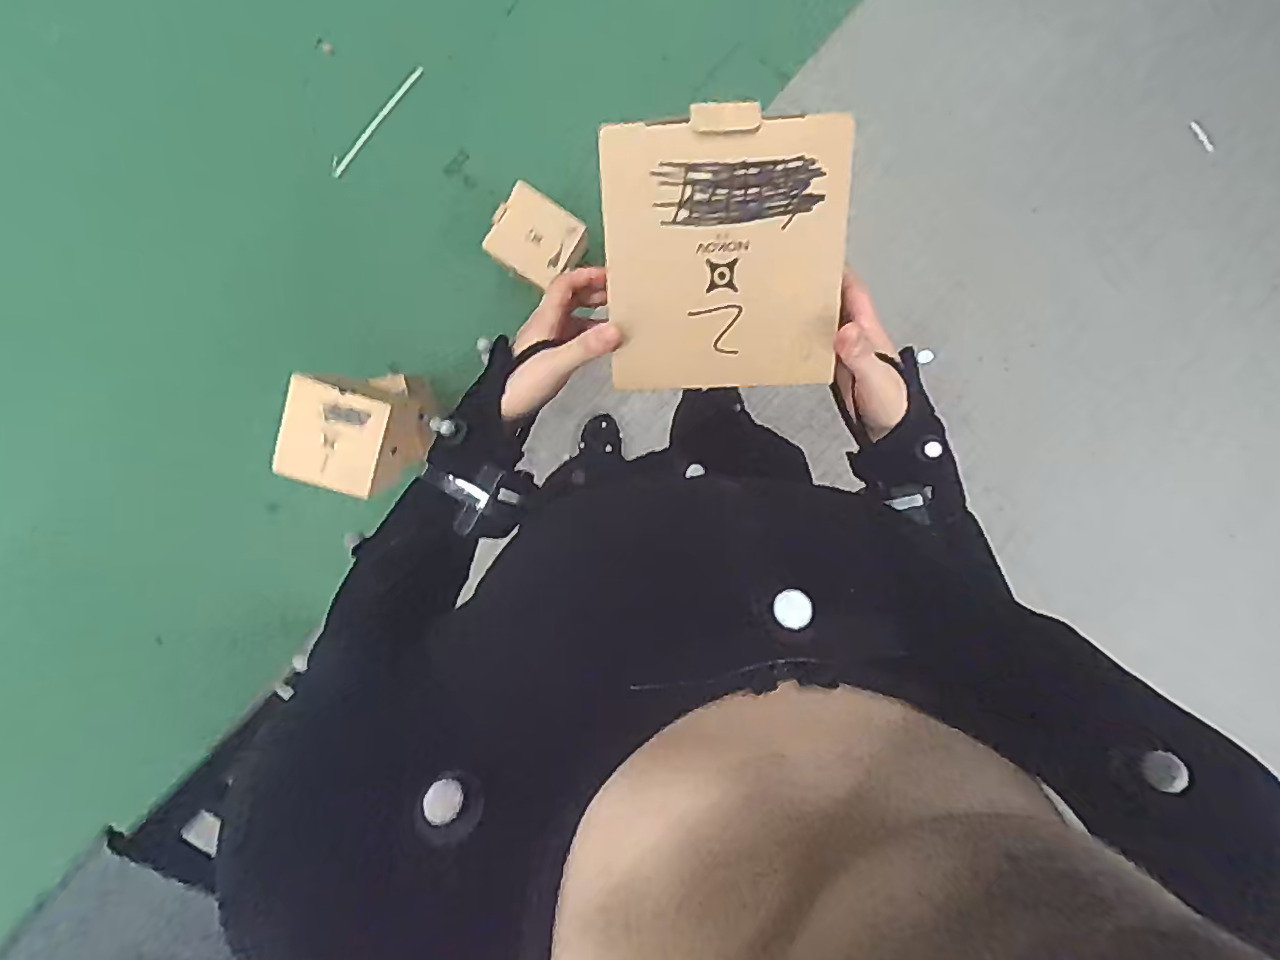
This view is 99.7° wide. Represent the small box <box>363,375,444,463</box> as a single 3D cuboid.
[{"bbox_3d":[-0.535,-0.126,1.152,0.168,0.176,0.179,-11,101,-4],"label":"small box"}]

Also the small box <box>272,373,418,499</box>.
[{"bbox_3d":[-0.527,-0.088,0.992,0.168,0.176,0.179,18,100,-9],"label":"small box"}]

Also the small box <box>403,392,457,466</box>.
[{"bbox_3d":[-0.573,-0.138,1.312,0.168,0.176,0.179,-31,102,1],"label":"small box"}]

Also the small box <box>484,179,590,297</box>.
[{"bbox_3d":[-0.233,-0.549,1.259,0.179,0.176,0.168,32,96,-9],"label":"small box"}]
